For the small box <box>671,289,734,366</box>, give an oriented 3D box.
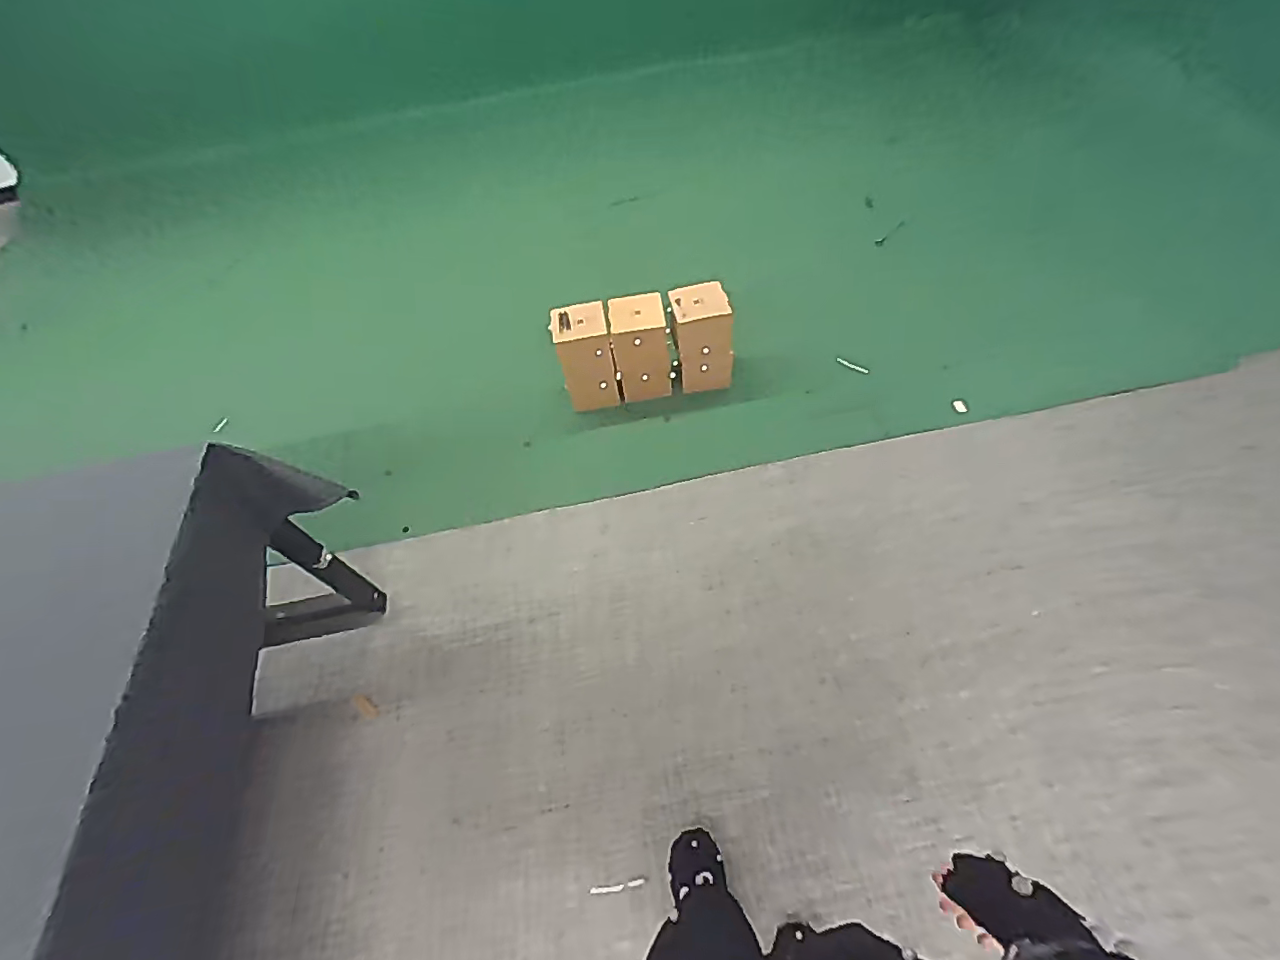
[{"bbox_3d":[0.203,-0.504,1.796,0.179,0.176,0.168,-11,55,-2],"label":"small box"}]
